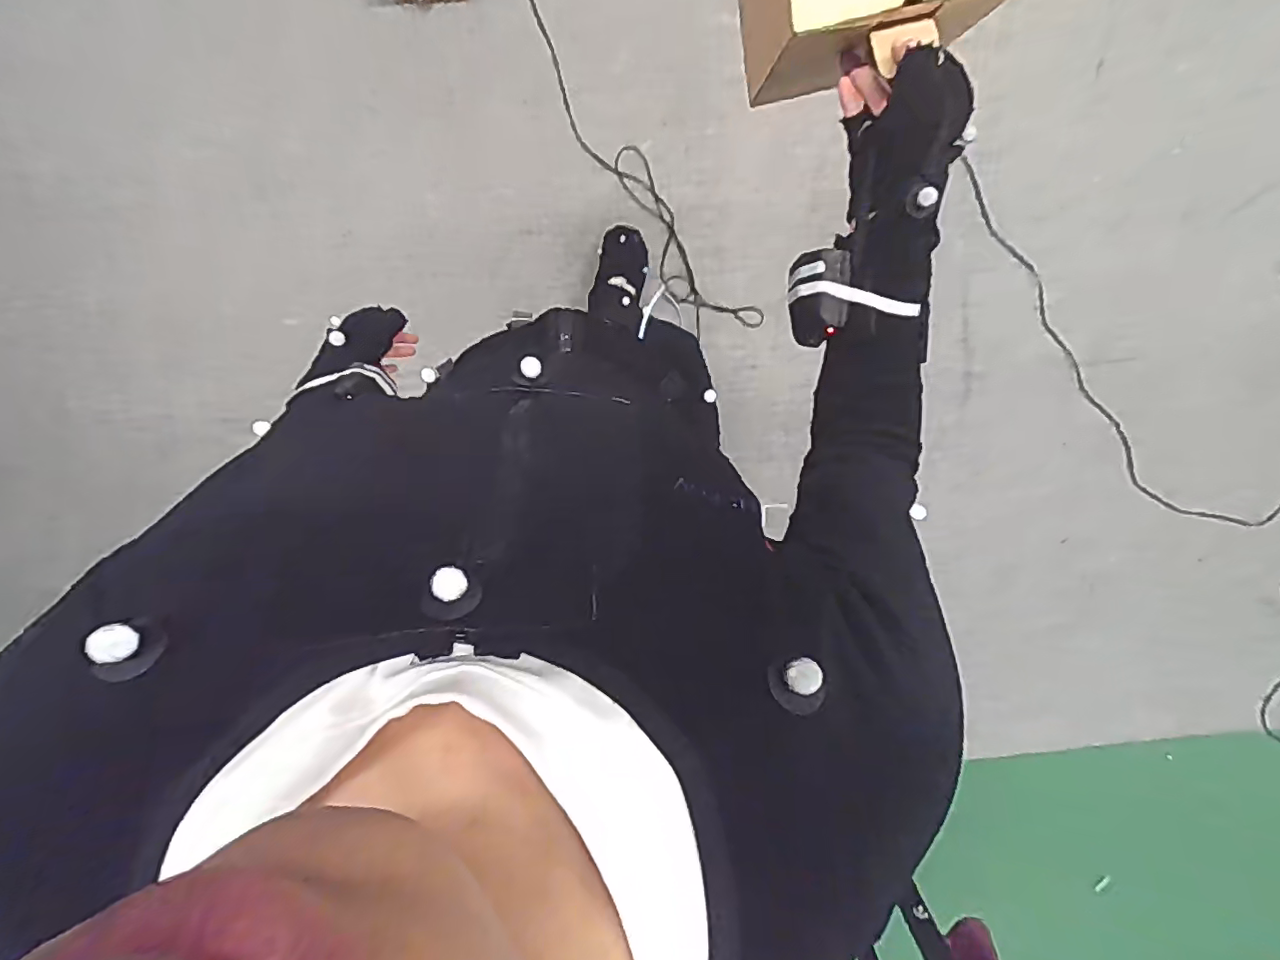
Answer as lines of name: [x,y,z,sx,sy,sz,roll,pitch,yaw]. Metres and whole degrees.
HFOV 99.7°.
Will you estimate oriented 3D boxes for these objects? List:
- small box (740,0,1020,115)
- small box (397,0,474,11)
small box: [0.172,-0.426,0.427,0.168,0.176,0.179,-10,110,5]
small box: [-0.433,-1.060,1.050,0.168,0.176,0.179,-2,108,-1]
